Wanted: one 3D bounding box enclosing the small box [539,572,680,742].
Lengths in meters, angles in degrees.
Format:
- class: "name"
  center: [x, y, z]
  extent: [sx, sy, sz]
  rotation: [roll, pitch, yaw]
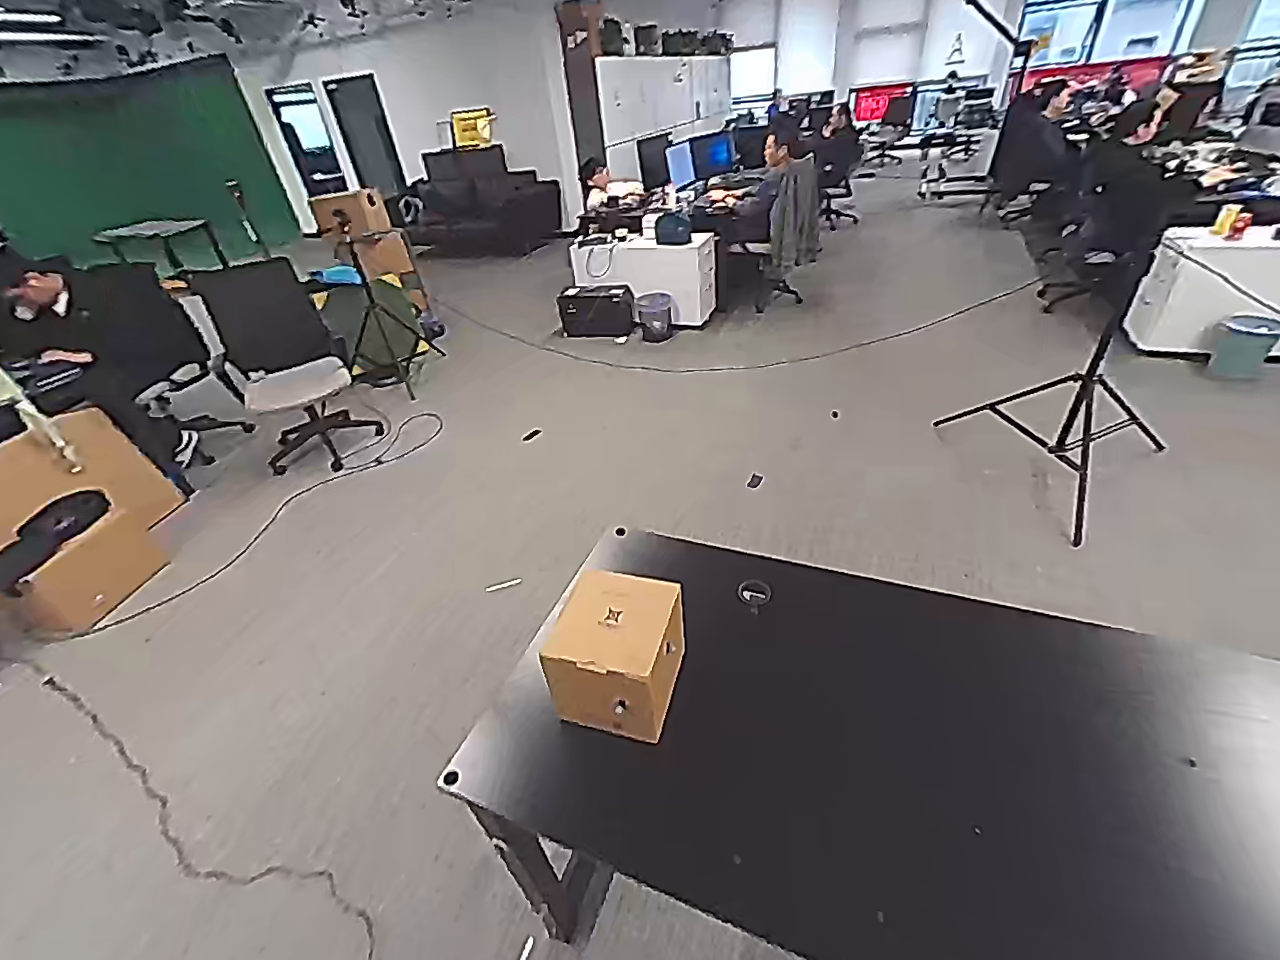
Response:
- class: "small box"
  center: [-0.034, 0.275, 0.846]
  extent: [0.168, 0.176, 0.179]
  rotation: [7, 37, 16]
